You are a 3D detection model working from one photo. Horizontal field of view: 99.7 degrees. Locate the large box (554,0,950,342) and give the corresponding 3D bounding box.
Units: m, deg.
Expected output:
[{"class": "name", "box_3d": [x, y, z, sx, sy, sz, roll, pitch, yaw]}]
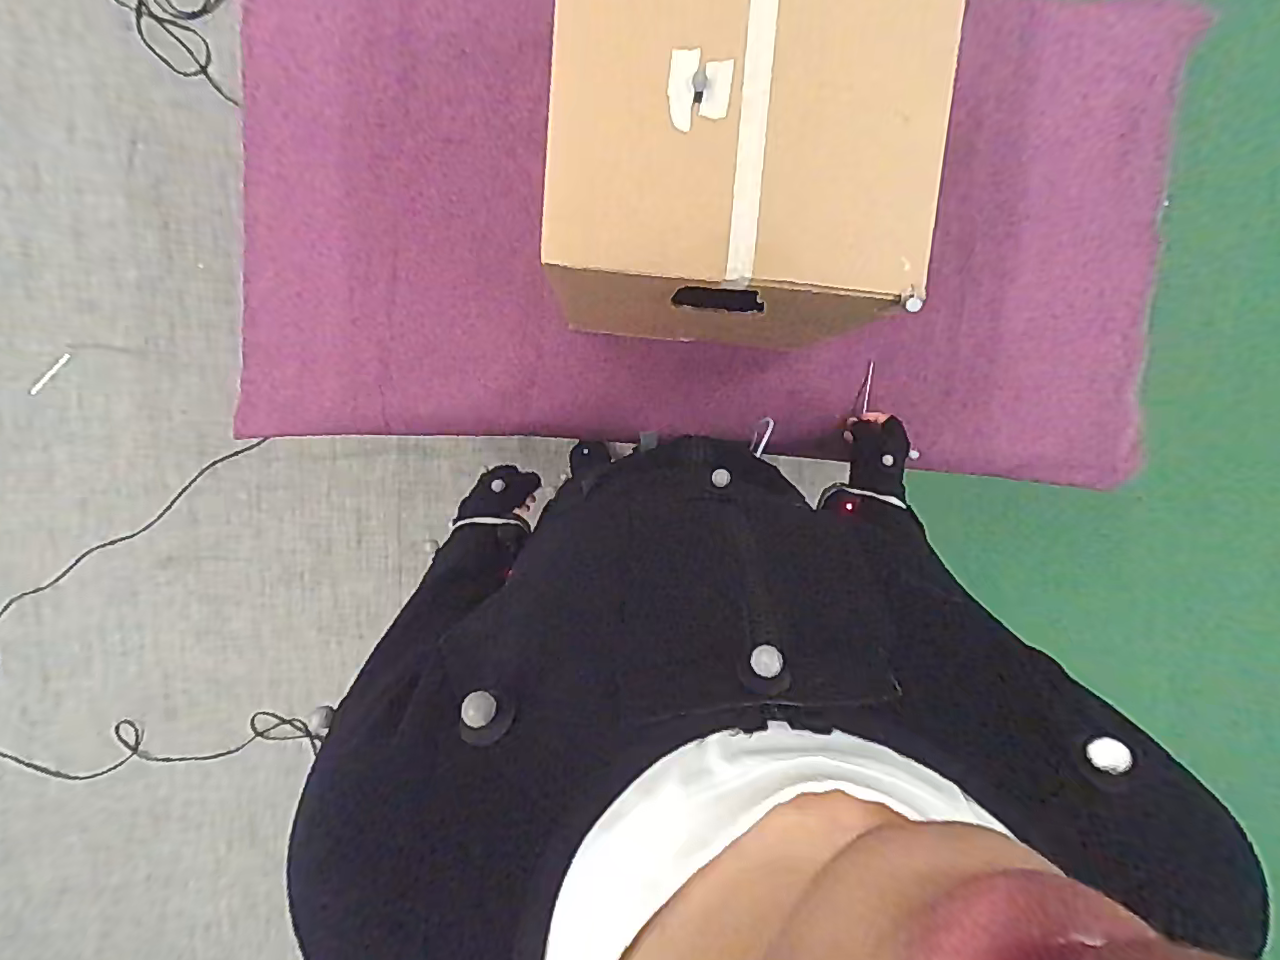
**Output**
[{"class": "large box", "box_3d": [0.086, -0.381, 0.575, 0.320, 0.320, 0.408, 5, 97, -3]}]
